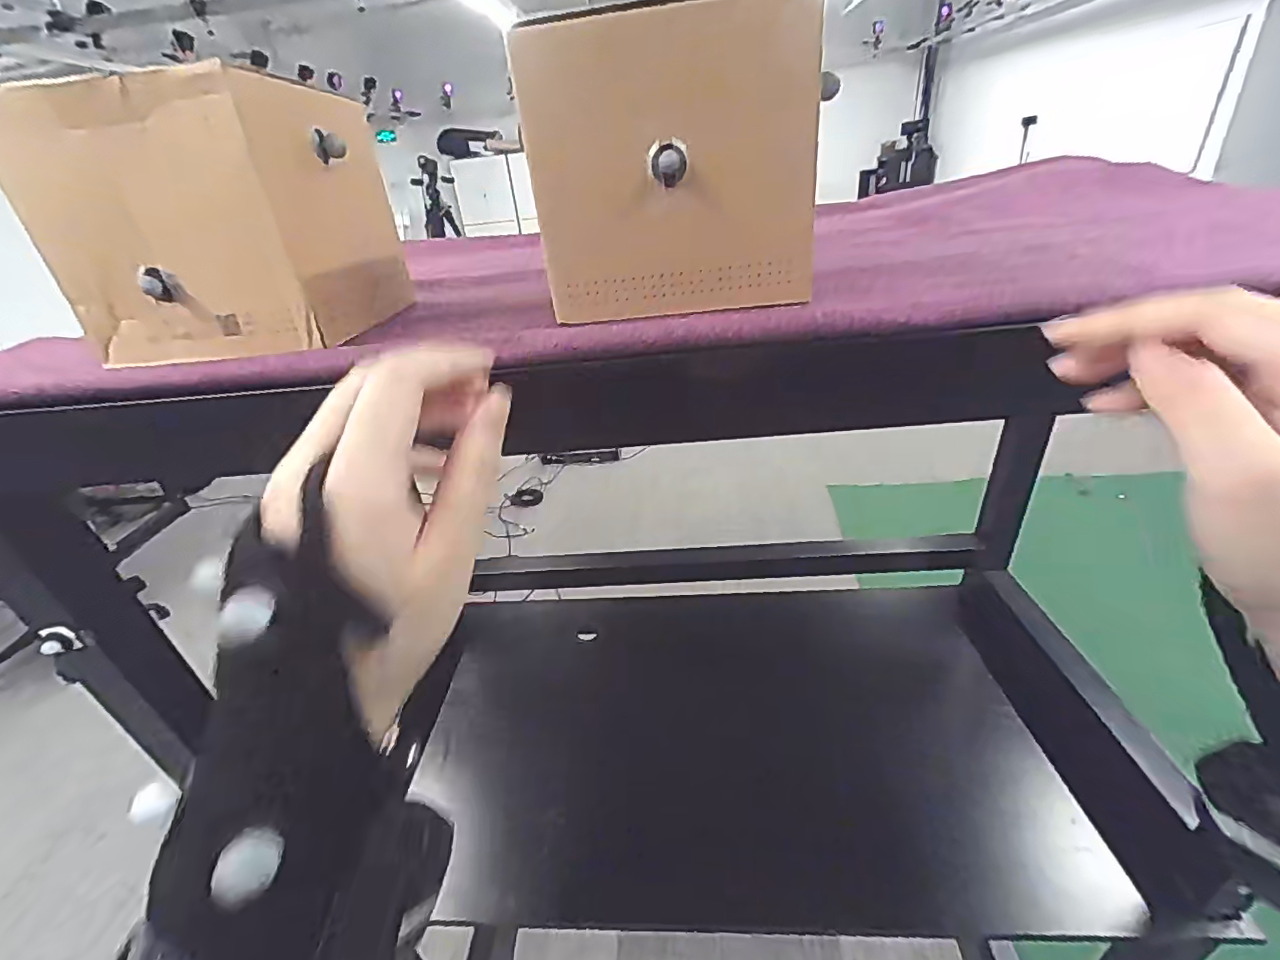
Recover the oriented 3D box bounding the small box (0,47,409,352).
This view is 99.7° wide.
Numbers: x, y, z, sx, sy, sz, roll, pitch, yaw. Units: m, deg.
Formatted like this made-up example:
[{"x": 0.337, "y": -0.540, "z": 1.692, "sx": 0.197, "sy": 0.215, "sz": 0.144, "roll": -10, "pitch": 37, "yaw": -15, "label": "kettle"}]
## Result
[{"x": -0.301, "y": -0.204, "z": 0.416, "sx": 0.168, "sy": 0.176, "sz": 0.179, "roll": -4, "pitch": 29, "yaw": 2, "label": "small box"}]
